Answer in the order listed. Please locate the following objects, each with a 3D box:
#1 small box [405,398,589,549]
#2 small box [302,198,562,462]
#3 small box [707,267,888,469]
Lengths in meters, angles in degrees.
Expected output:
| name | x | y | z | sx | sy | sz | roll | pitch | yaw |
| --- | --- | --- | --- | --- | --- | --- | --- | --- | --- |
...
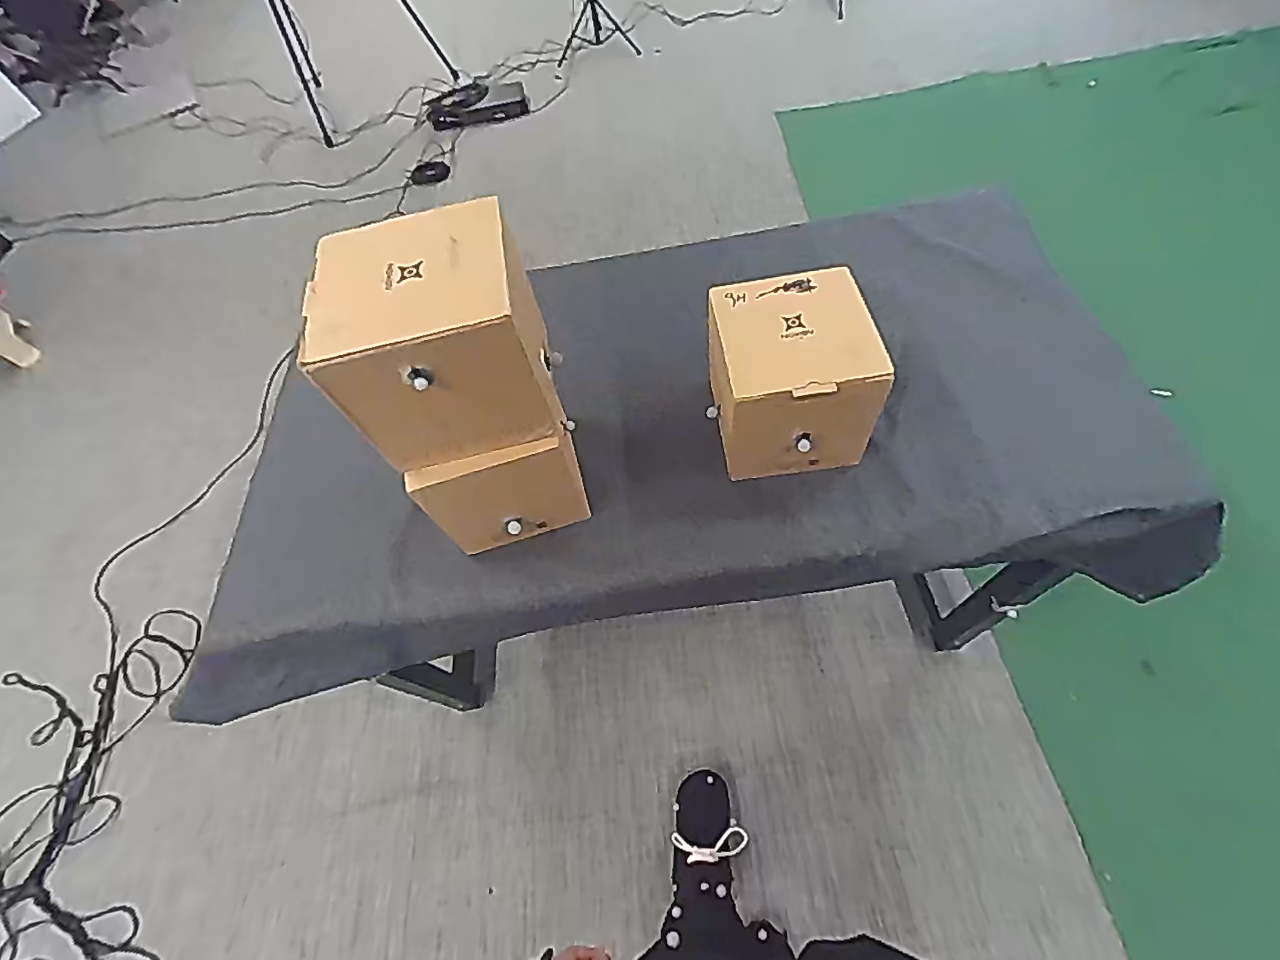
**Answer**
| name | x | y | z | sx | sy | sz | roll | pitch | yaw |
| --- | --- | --- | --- | --- | --- | --- | --- | --- | --- |
| small box | -0.171 | -0.041 | 0.665 | 0.168 | 0.176 | 0.179 | -17 | 59 | -2 |
| small box | -0.189 | -0.137 | 0.534 | 0.179 | 0.176 | 0.168 | -13 | 60 | -1 |
| small box | 0.178 | -0.126 | 0.666 | 0.168 | 0.176 | 0.179 | -8 | 59 | 4 |
